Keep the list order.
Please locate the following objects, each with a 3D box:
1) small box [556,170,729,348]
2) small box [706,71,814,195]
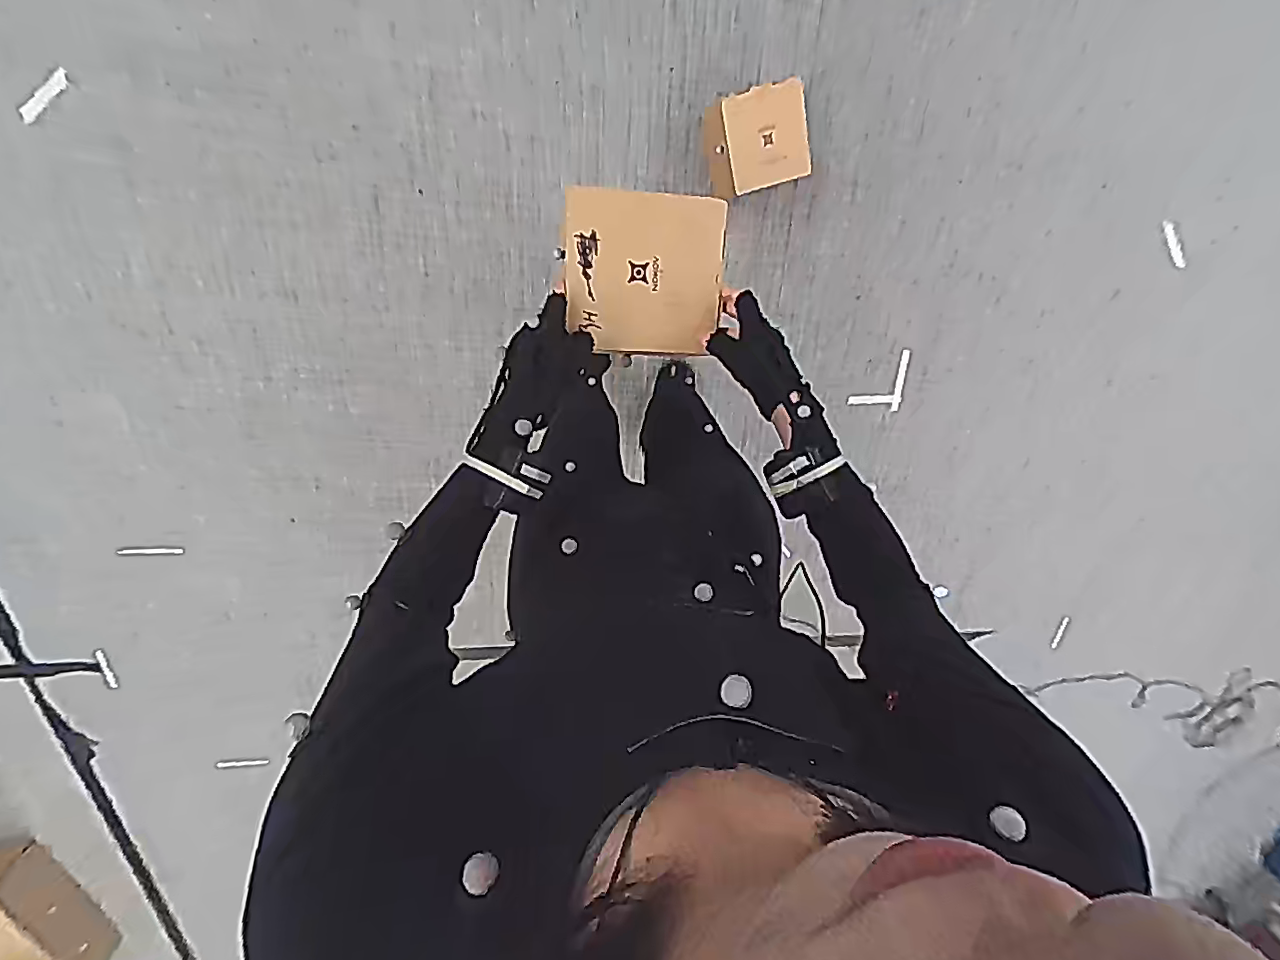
[{"bbox_3d":[-0.008,-0.250,0.655,0.179,0.176,0.168,0,101,-11],"label":"small box"},{"bbox_3d":[0.247,-0.720,1.143,0.168,0.176,0.179,-17,116,1],"label":"small box"}]
